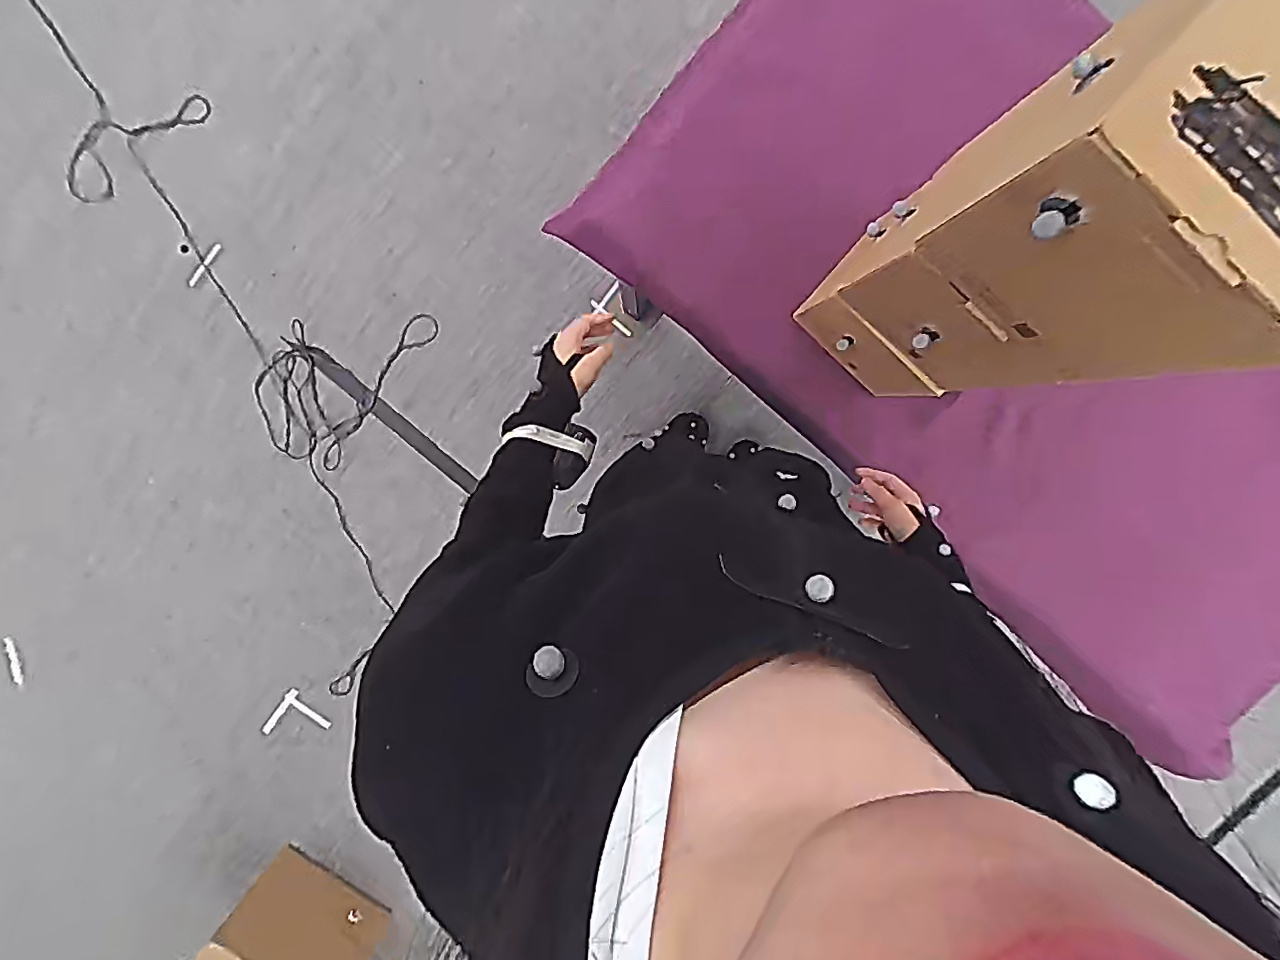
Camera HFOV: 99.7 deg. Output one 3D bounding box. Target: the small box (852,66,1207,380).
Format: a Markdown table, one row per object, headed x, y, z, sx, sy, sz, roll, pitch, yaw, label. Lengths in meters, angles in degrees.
| x | y | z | sx | sy | sz | roll | pitch | yaw | label |
| --- | --- | --- | --- | --- | --- | --- | --- | --- | --- |
| 0.327 | -0.208 | 0.503 | 0.168 | 0.176 | 0.179 | 39 | 96 | -5 | small box |

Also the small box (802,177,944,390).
| x | y | z | sx | sy | sz | roll | pitch | yaw | label |
| --- | --- | --- | --- | --- | --- | --- | --- | --- | --- |
| 0.324 | -0.225 | 0.666 | 0.168 | 0.176 | 0.179 | 42 | 95 | -5 | small box |
